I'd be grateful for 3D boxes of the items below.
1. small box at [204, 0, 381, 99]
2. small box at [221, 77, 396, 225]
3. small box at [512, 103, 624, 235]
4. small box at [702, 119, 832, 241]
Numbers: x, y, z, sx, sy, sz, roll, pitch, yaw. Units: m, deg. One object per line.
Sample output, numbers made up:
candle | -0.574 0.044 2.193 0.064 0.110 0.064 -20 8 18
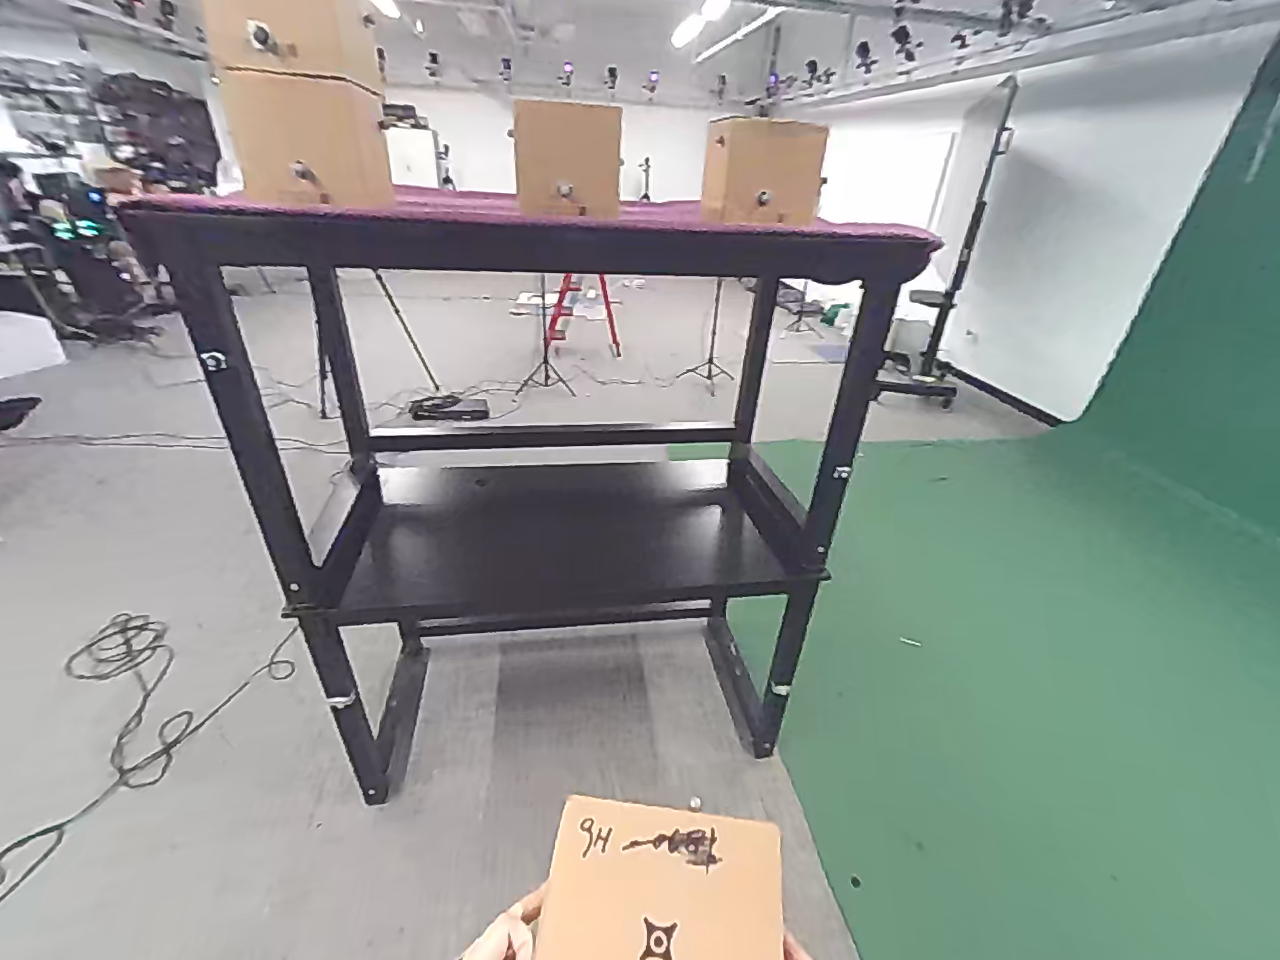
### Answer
small box | -0.476 -0.636 0.748 0.168 0.176 0.179 -2 30 -7
small box | -0.487 -0.495 0.829 0.168 0.176 0.179 -3 30 -9
small box | -0.121 -0.518 0.905 0.168 0.176 0.179 -2 32 -9
small box | 0.212 -0.533 0.964 0.168 0.176 0.179 -2 32 -7
